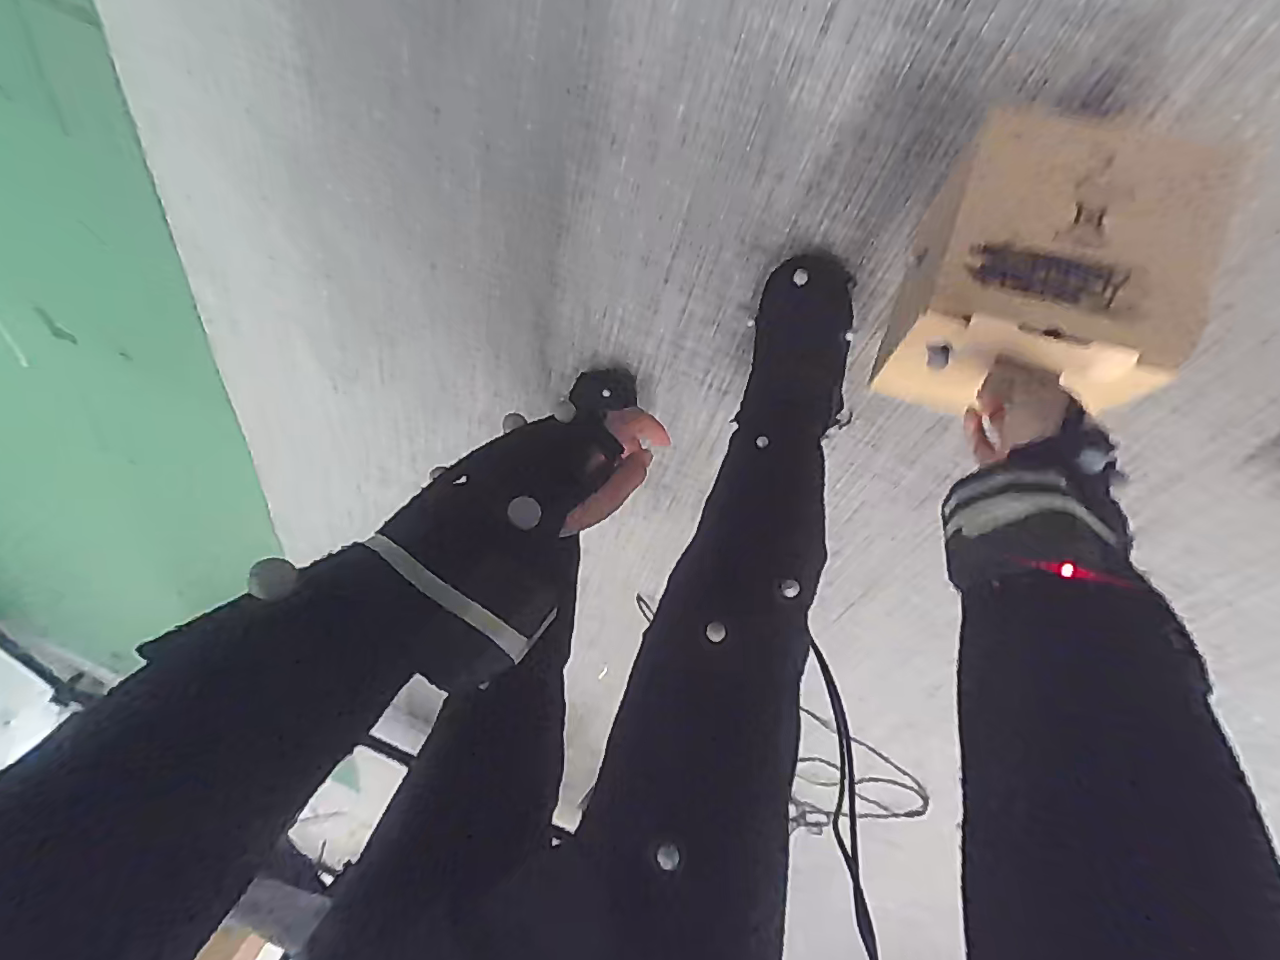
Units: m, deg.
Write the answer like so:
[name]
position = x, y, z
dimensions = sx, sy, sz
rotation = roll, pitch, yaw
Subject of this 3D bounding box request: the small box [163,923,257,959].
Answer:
[small box]
position = -1.222, 1.369, 1.504
dimensions = 0.168, 0.176, 0.179
rotation = 20, 134, 8
